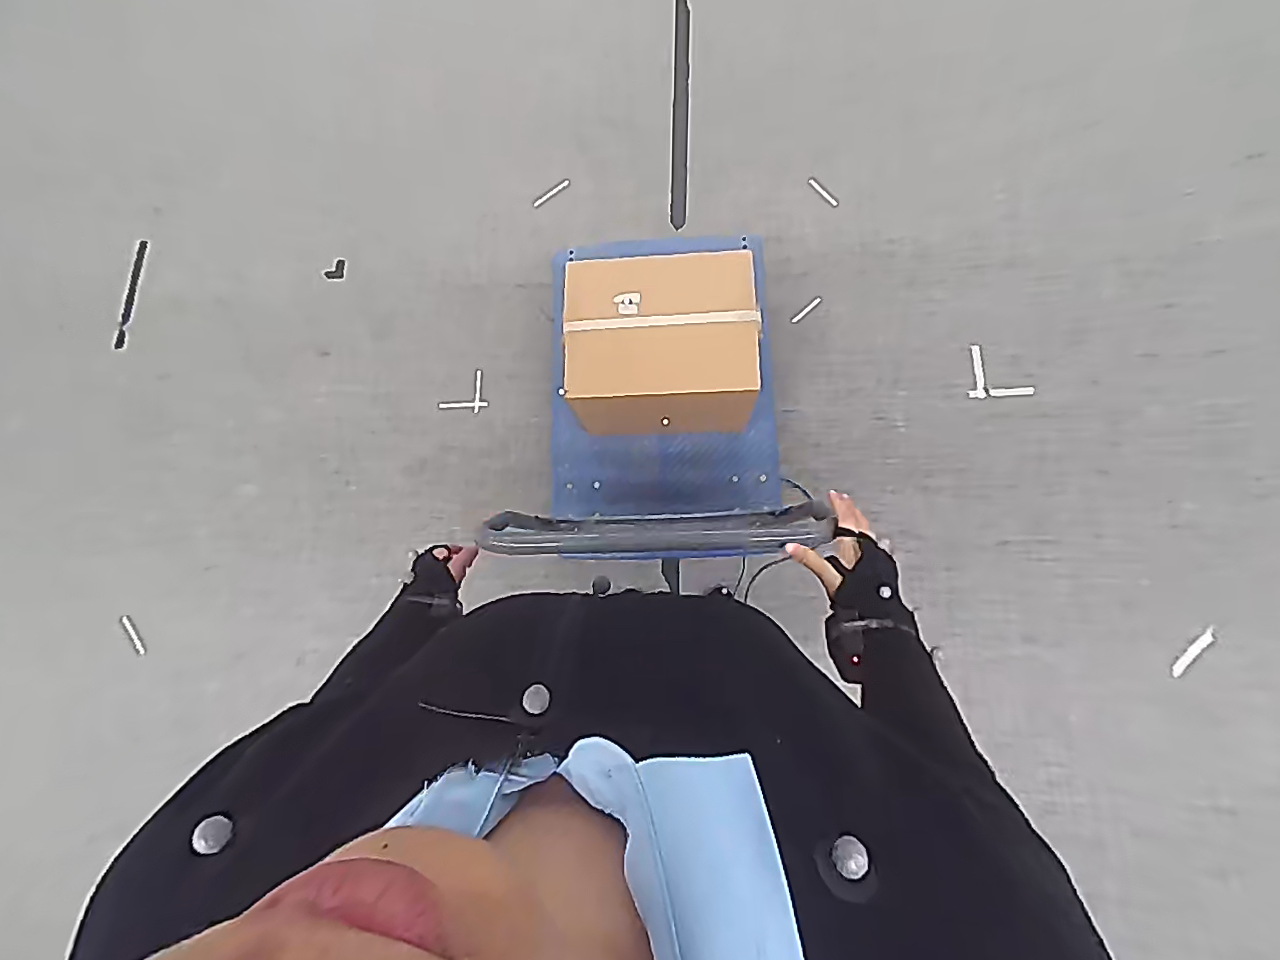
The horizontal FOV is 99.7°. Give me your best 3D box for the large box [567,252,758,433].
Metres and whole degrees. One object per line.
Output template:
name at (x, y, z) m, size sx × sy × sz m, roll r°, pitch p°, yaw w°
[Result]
large box at (0.056, -0.305, 1.297) m, size 0.408 × 0.320 × 0.320 m, roll -2°, pitch 79°, yaw 6°
